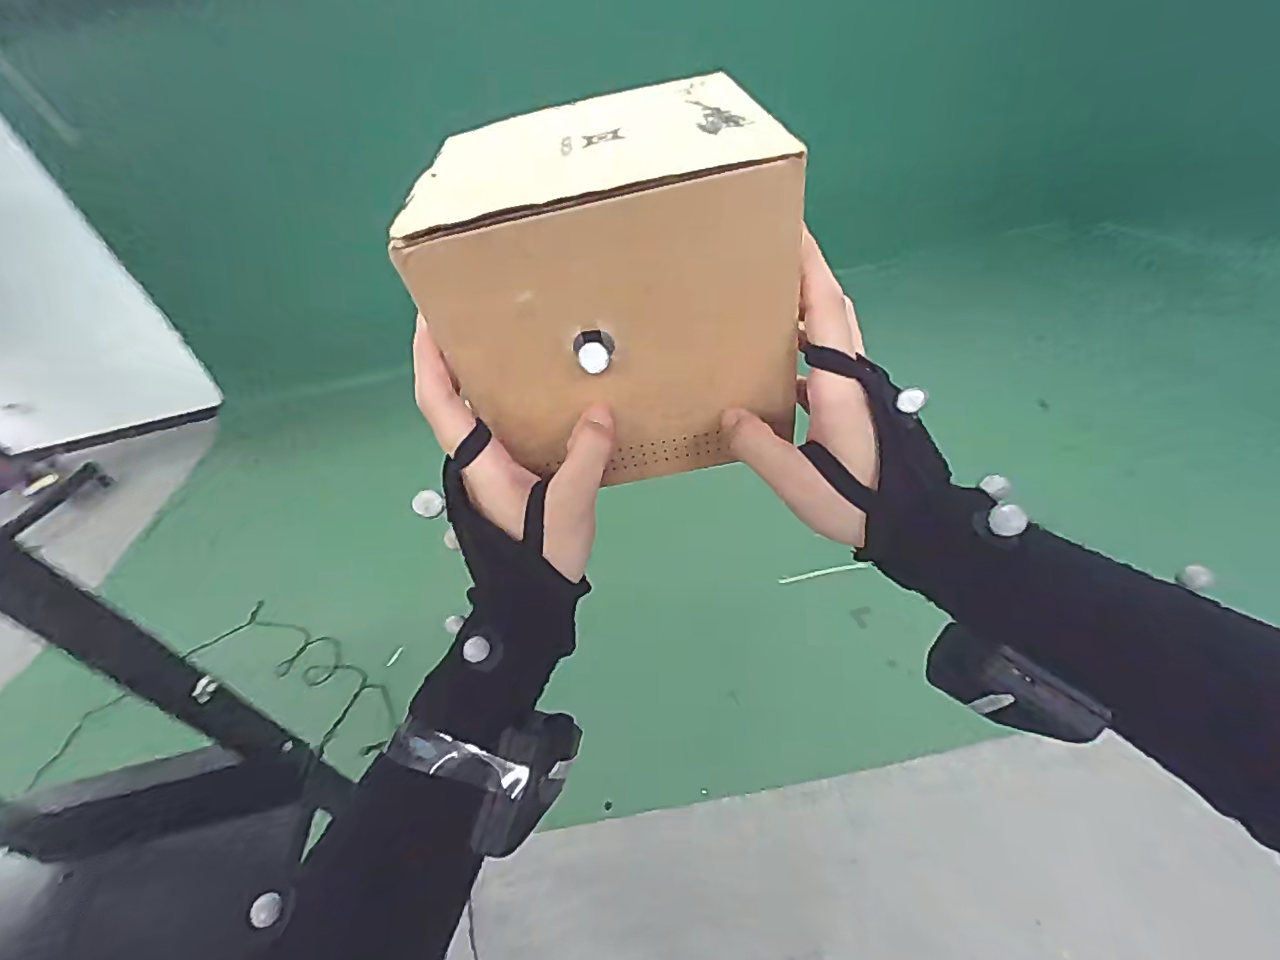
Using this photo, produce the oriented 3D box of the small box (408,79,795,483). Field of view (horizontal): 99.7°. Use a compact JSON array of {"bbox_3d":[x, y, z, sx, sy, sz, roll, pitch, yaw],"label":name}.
[{"bbox_3d":[-0.008,-0.117,0.341,0.179,0.176,0.168,-11,46,5],"label":"small box"}]
